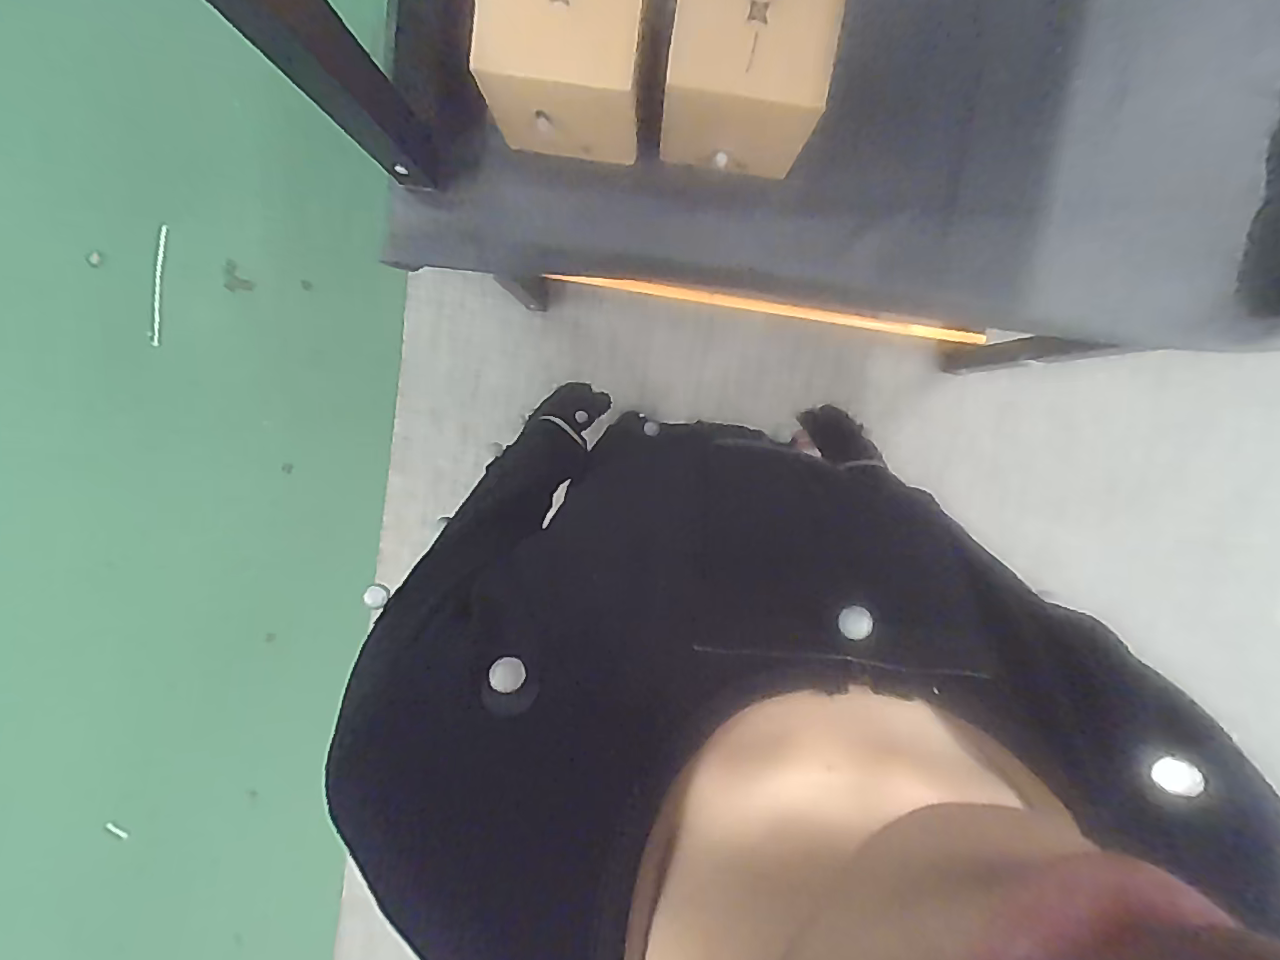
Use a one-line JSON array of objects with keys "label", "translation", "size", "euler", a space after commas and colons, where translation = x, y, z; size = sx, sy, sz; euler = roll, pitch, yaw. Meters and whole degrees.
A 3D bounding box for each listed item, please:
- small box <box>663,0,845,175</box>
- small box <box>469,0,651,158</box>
[{"label": "small box", "translation": [0.118, -0.479, 0.606], "size": [0.168, 0.176, 0.179], "euler": [9, 97, 0]}, {"label": "small box", "translation": [-0.078, -0.495, 0.606], "size": [0.168, 0.176, 0.179], "euler": [8, 96, -1]}]
